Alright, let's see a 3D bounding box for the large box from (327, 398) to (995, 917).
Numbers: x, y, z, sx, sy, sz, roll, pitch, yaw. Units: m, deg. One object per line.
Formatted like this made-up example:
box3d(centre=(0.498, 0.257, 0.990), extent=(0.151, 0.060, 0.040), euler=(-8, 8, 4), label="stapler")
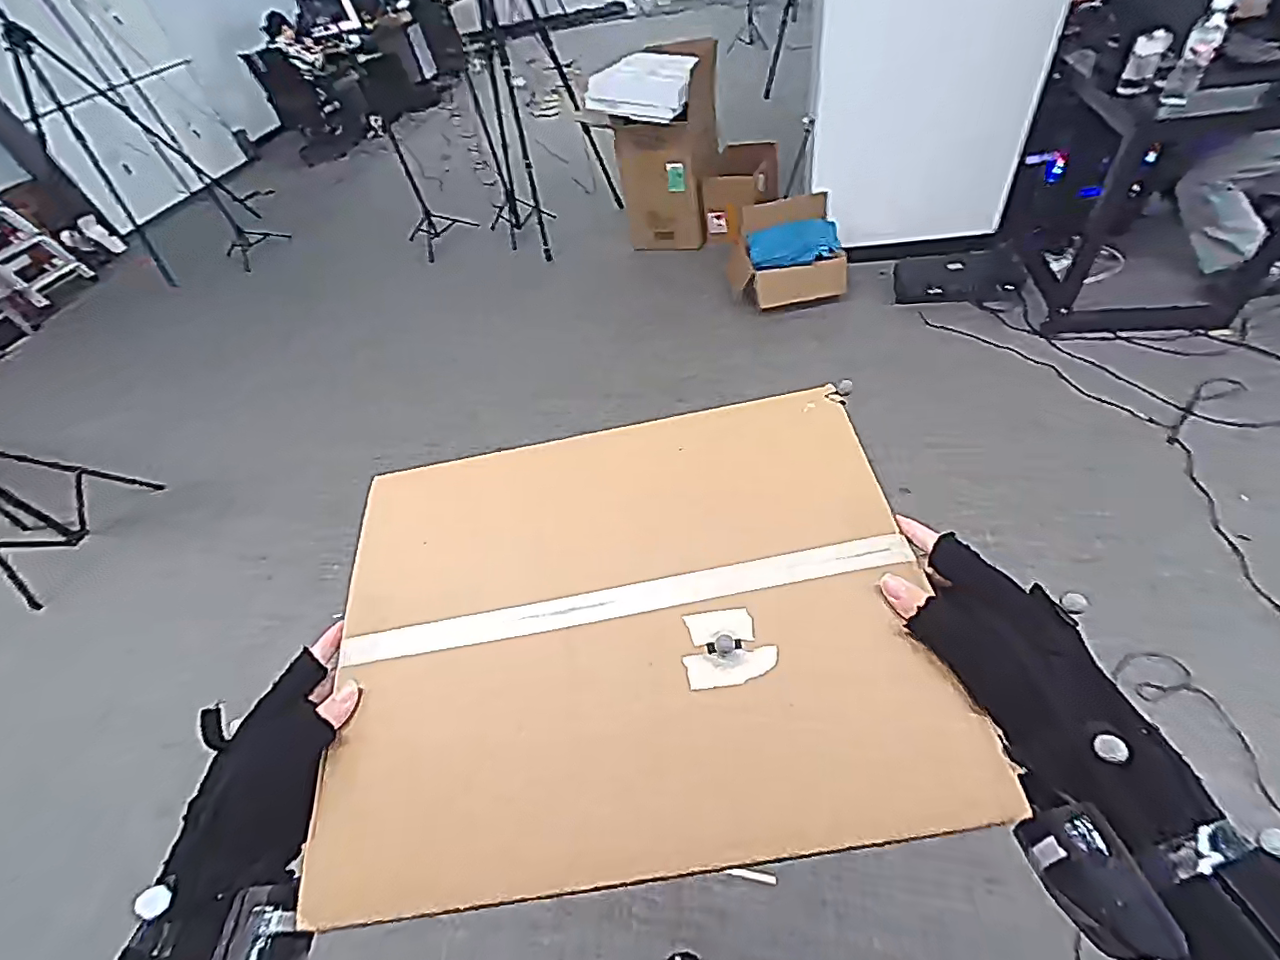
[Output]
box3d(centre=(0.007, 0.173, 0.515), extent=(0.408, 0.320, 0.320), euler=(-11, 56, 2), label="large box")
